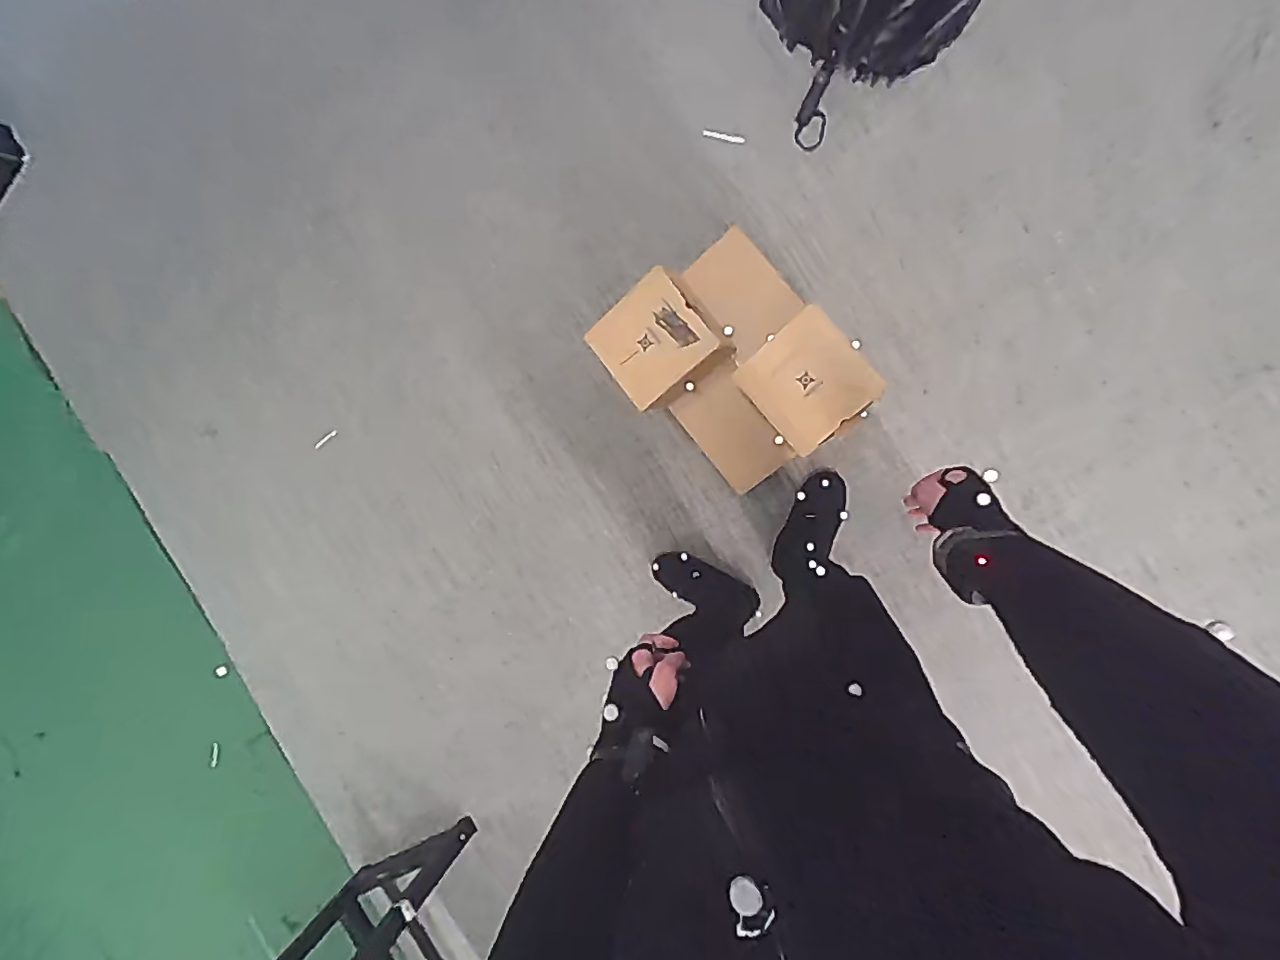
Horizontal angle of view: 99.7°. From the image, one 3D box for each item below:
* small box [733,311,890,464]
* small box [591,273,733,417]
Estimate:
[{"bbox_3d":[0.281,-0.149,0.903,0.168,0.176,0.179,-42,84,15],"label":"small box"},{"bbox_3d":[0.050,-0.232,0.959,0.179,0.176,0.168,-38,86,21],"label":"small box"}]
